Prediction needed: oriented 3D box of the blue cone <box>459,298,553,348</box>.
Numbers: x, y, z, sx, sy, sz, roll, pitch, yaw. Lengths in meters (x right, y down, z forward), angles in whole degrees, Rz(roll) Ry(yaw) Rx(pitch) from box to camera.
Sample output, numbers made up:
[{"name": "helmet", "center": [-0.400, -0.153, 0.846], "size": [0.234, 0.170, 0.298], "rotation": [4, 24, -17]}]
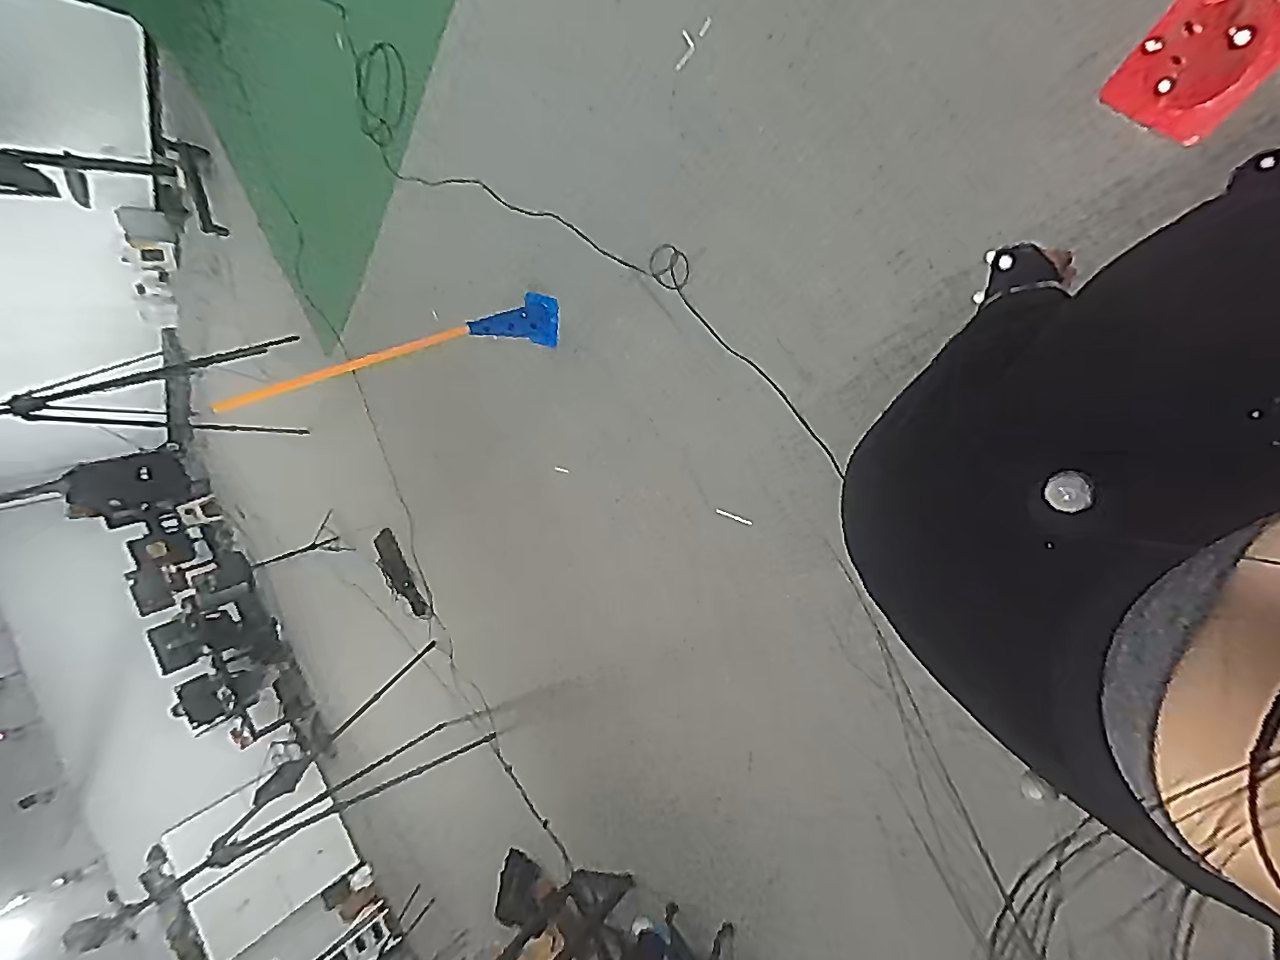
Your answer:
[{"name": "blue cone", "center": [-0.529, -0.596, 2.111], "size": [0.192, 0.380, 0.193], "rotation": [23, 122, 33]}]
